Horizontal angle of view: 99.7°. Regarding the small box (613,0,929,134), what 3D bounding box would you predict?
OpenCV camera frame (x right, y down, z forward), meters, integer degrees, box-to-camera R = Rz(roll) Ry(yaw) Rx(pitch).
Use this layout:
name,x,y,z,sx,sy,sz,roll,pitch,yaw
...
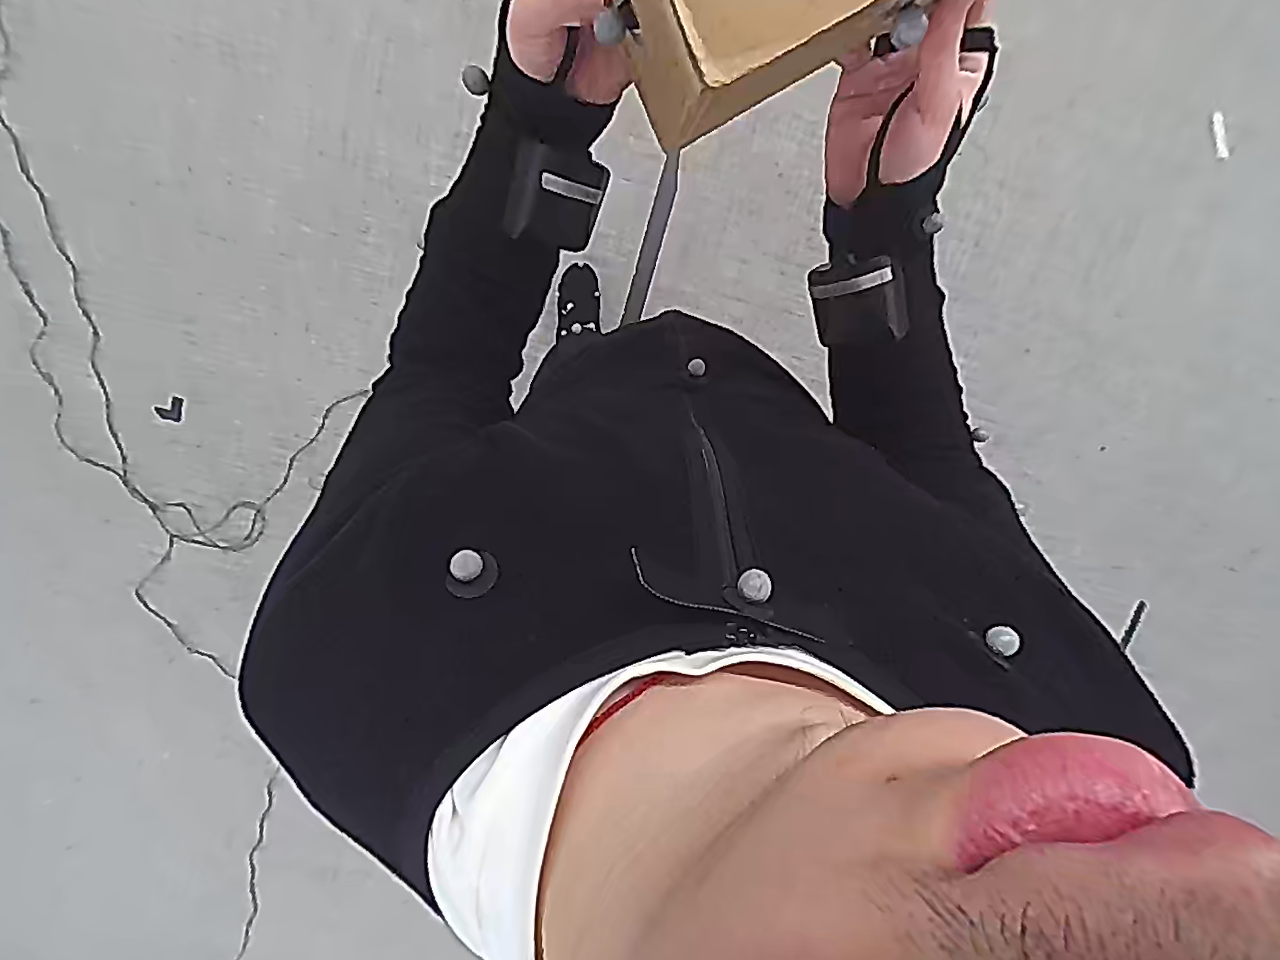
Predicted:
name,x,y,z,sx,sy,sz,roll,pitch,yaw
small box,0.060,-0.262,0.202,0.179,0.176,0.168,-25,115,9
